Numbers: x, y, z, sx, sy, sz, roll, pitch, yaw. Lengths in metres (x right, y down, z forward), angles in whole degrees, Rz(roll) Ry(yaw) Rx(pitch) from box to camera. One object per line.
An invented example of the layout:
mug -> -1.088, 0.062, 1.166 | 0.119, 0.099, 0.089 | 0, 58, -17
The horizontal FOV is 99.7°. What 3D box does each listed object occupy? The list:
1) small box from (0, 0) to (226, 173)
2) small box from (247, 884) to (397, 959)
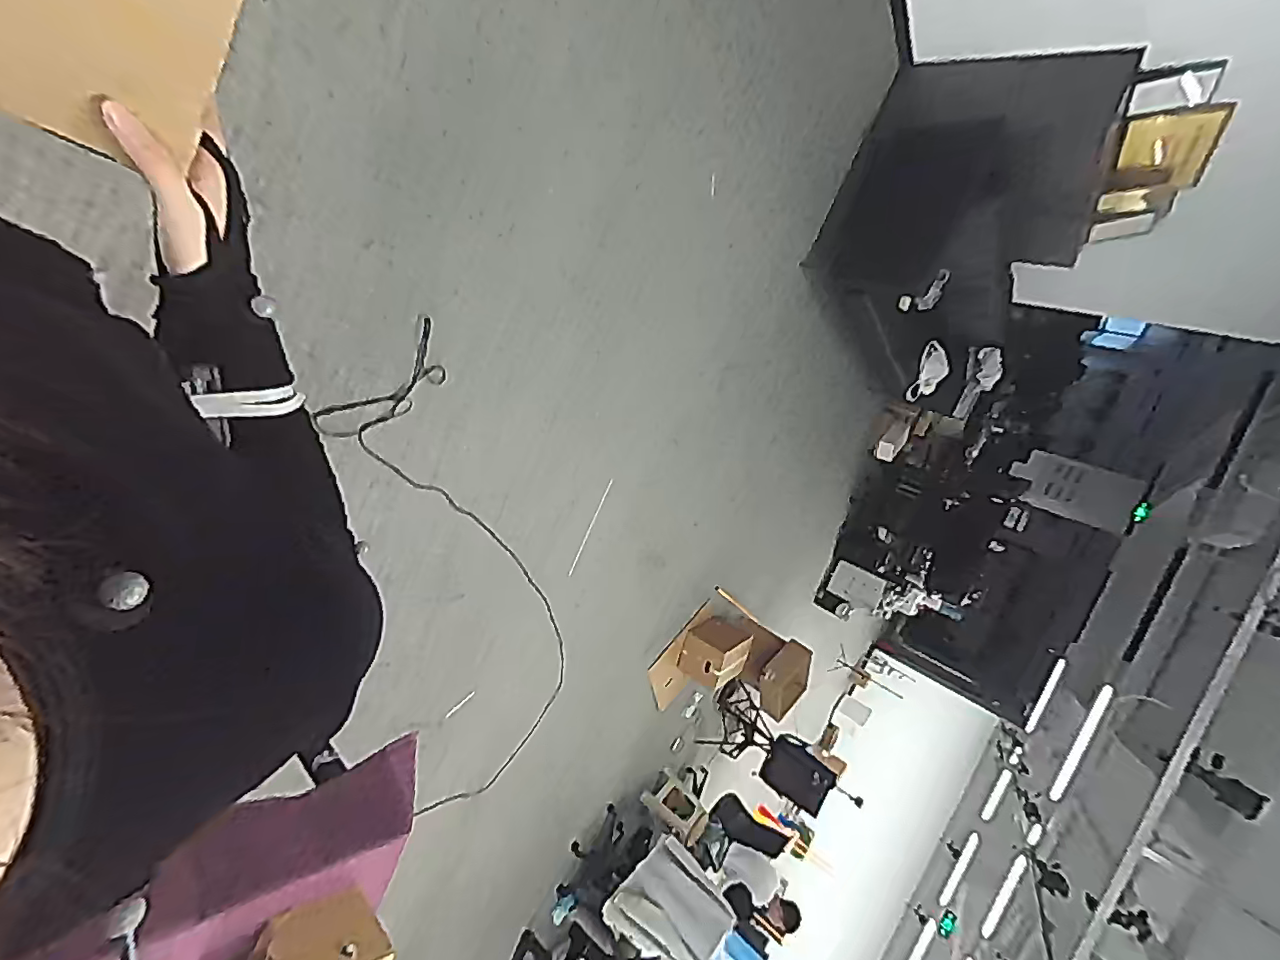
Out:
small box -> -0.322, -0.314, 0.280 | 0.168, 0.176, 0.179 | 12, 127, -49
small box -> -0.599, 0.901, 1.000 | 0.179, 0.176, 0.168 | 29, 88, -55
